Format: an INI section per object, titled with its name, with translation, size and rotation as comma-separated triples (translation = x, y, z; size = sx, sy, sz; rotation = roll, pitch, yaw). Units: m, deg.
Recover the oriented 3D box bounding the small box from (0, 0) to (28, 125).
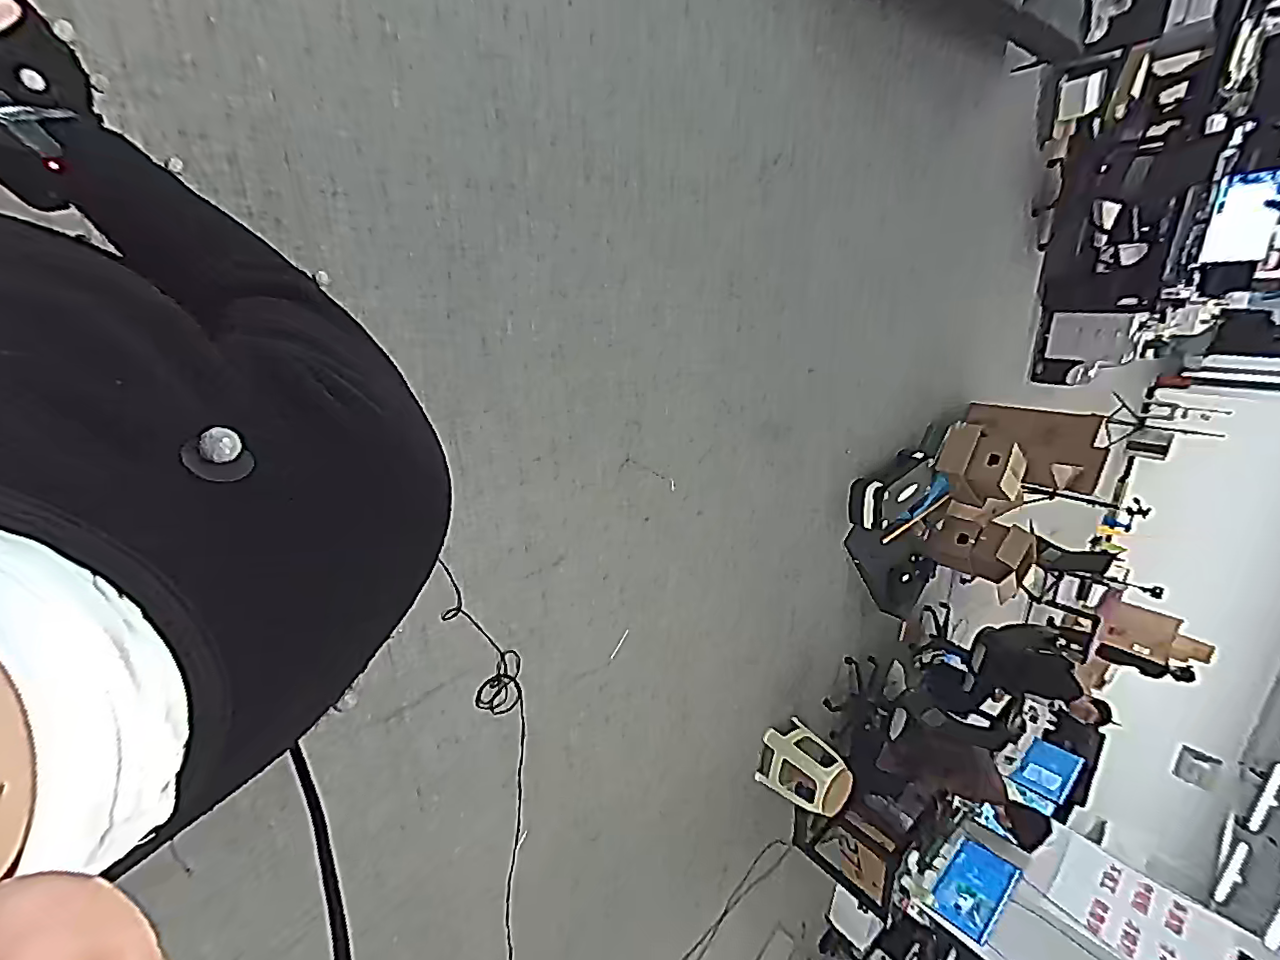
[small box]
translation = -0.628, -0.406, 0.421
size = 0.179, 0.176, 0.168
rotation = -16, 108, -41
